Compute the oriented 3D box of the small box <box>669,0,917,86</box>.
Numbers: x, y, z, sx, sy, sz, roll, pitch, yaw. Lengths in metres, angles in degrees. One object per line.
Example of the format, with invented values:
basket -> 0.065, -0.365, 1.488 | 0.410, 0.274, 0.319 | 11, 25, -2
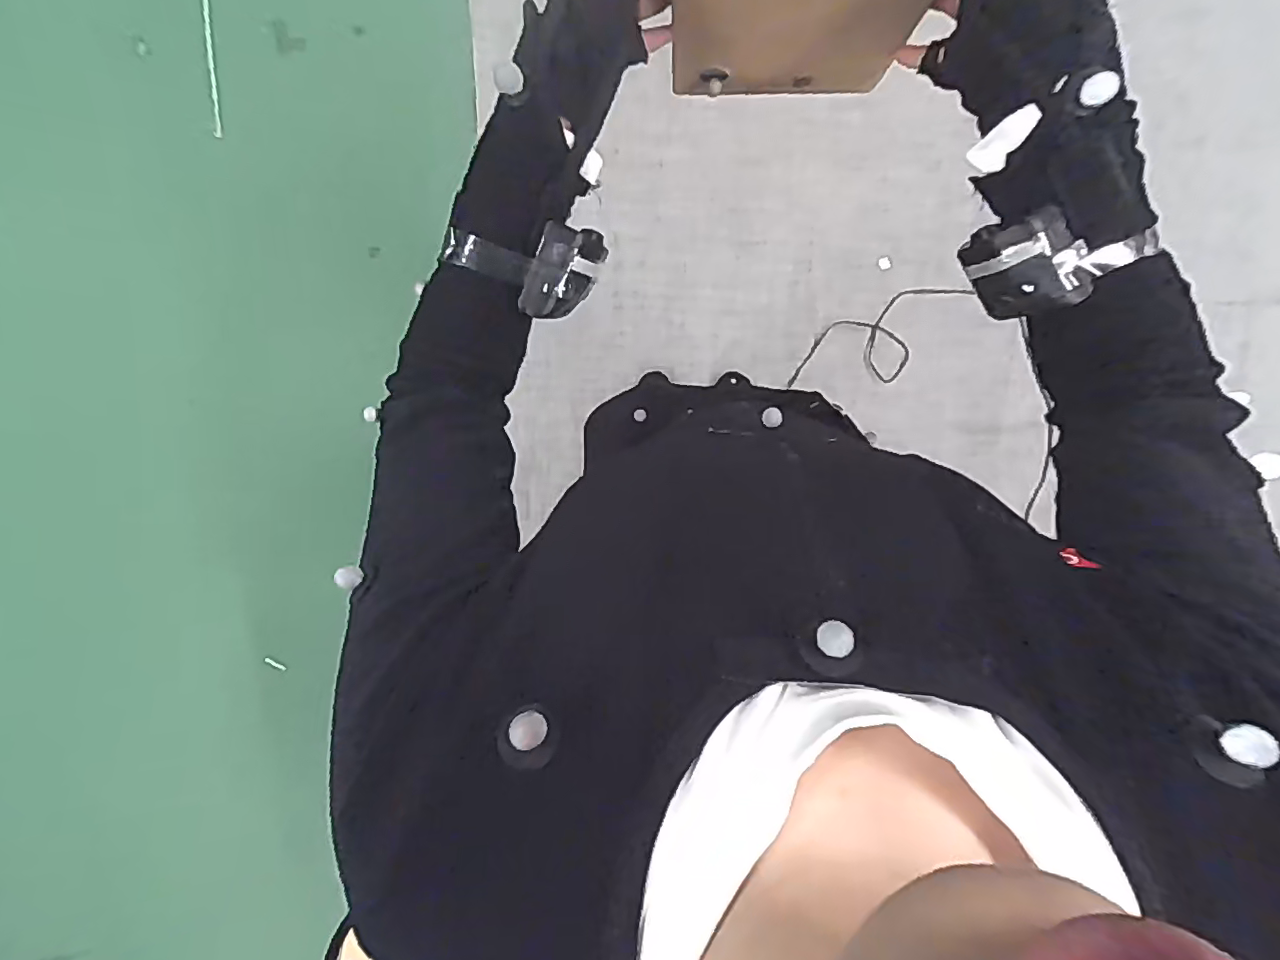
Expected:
small box -> 0.104, -0.389, 0.349 | 0.168, 0.176, 0.179 | 2, 100, 3
